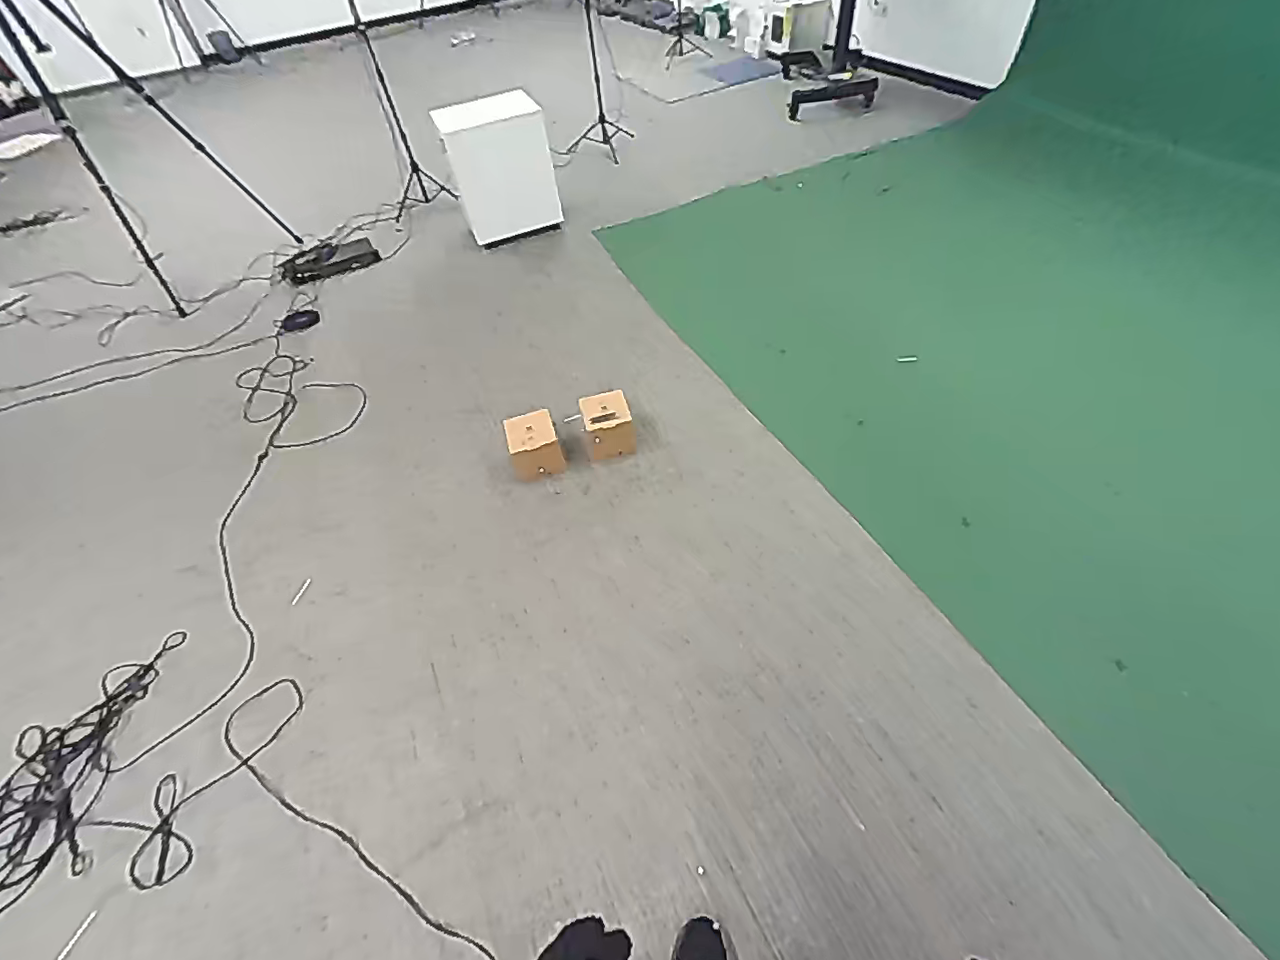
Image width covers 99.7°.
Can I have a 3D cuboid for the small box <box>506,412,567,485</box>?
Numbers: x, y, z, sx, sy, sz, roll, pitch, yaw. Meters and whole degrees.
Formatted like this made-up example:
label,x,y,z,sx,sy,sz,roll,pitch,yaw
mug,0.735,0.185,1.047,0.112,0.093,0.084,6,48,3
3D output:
label,x,y,z,sx,sy,sz,roll,pitch,yaw
small box,-0.370,-0.111,1.941,0.168,0.176,0.179,-17,51,-7
